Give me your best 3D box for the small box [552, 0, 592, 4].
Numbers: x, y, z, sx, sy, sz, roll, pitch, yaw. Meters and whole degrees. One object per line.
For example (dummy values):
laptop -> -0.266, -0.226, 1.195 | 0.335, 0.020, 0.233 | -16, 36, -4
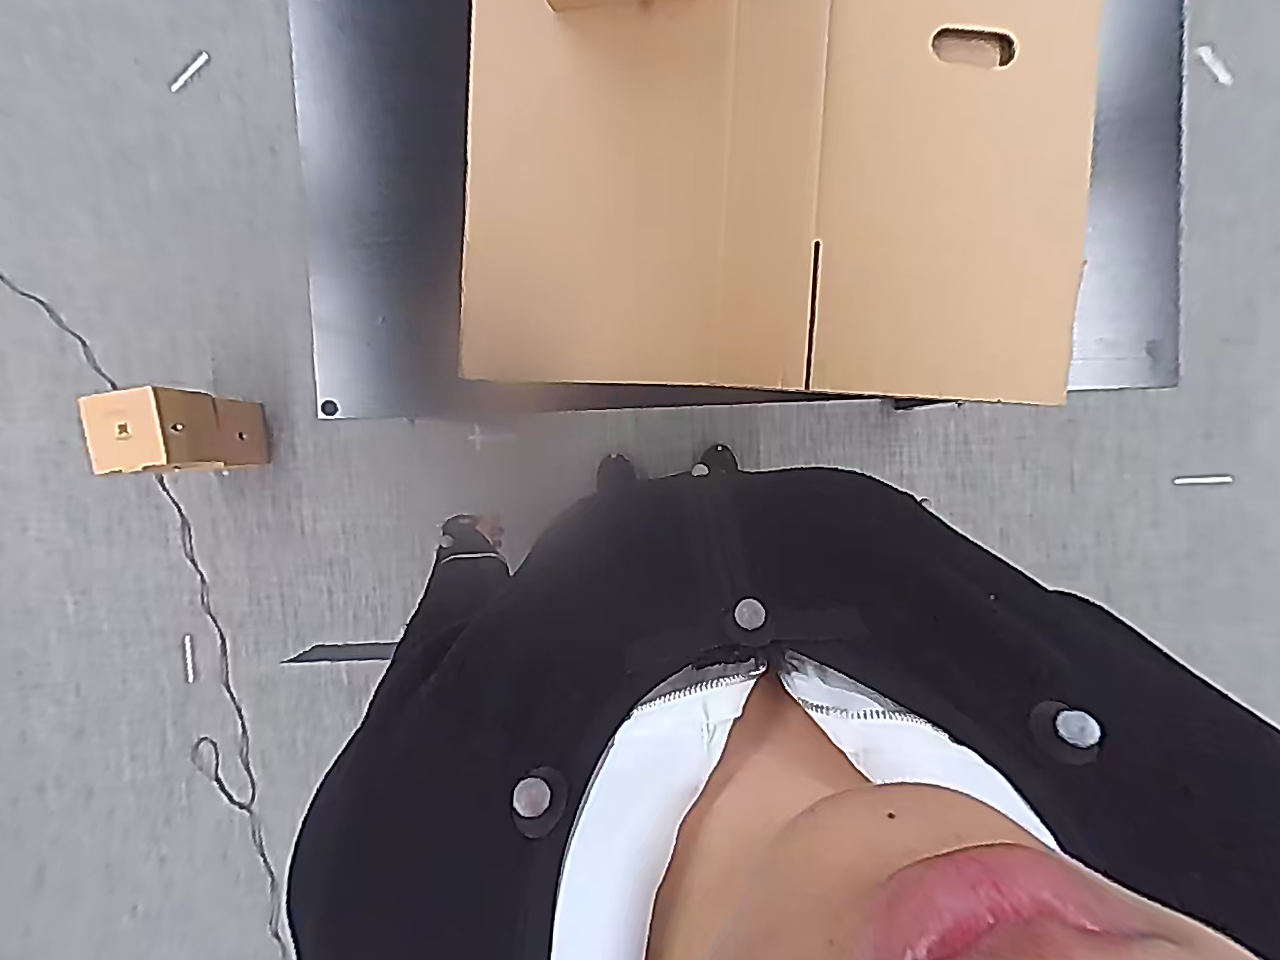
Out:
small box -> -0.029, -0.594, 0.499 | 0.179, 0.176, 0.168 | 5, 93, 13

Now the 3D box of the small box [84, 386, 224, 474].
small box -> -1.121, -0.114, 1.264 | 0.168, 0.176, 0.179 | -9, 93, 1

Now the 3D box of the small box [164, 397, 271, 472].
small box -> -1.119, -0.117, 1.427 | 0.168, 0.176, 0.179 | -6, 94, 1
